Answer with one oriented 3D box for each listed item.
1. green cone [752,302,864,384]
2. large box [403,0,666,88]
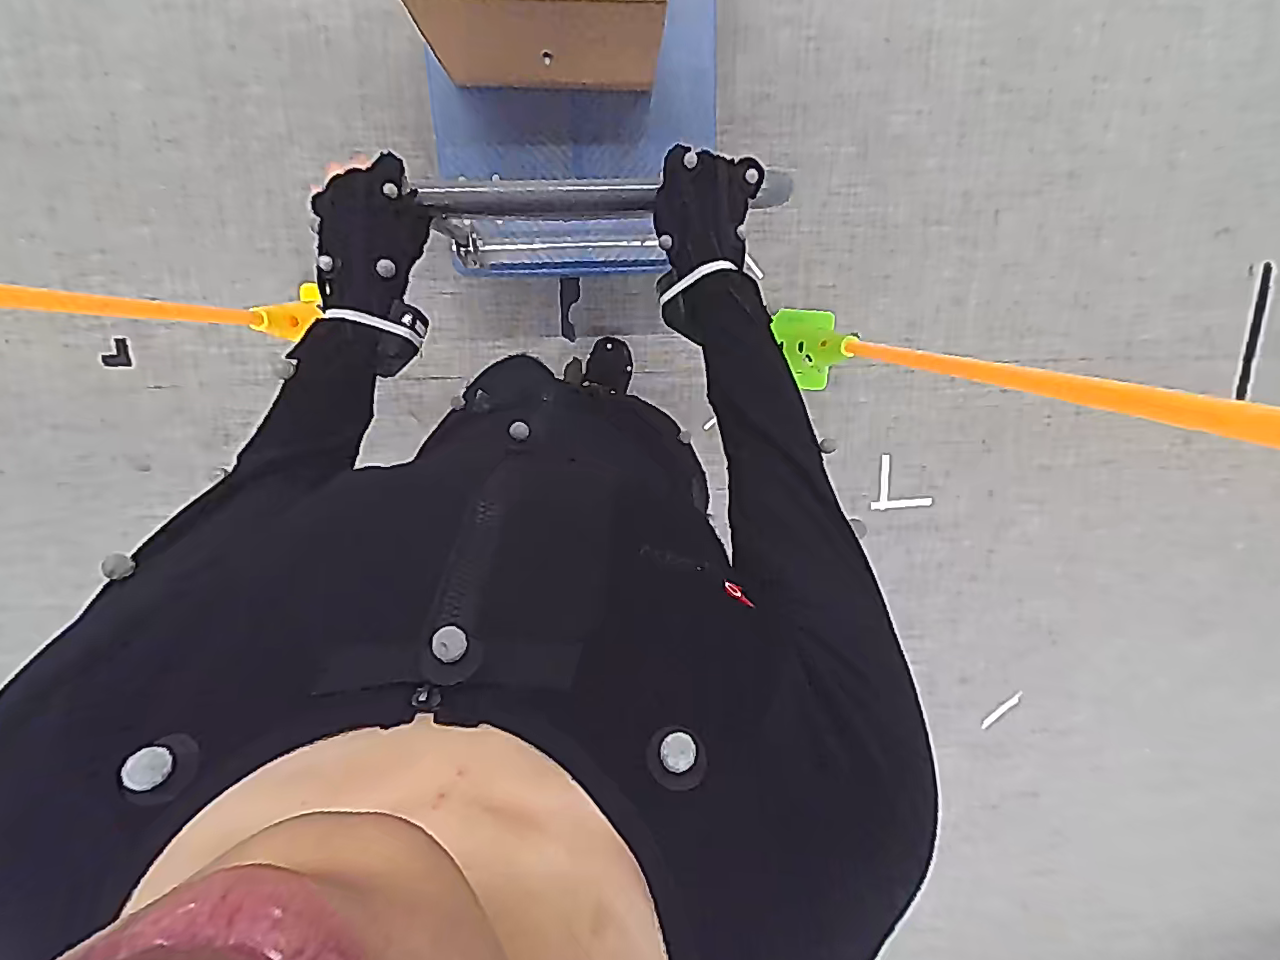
[{"bbox_3d":[0.408,-0.315,1.244,0.202,0.368,0.200,2,104,-4],"label":"green cone"},{"bbox_3d":[-0.165,-0.909,0.925,0.408,0.320,0.320,-1,105,-2],"label":"large box"}]
